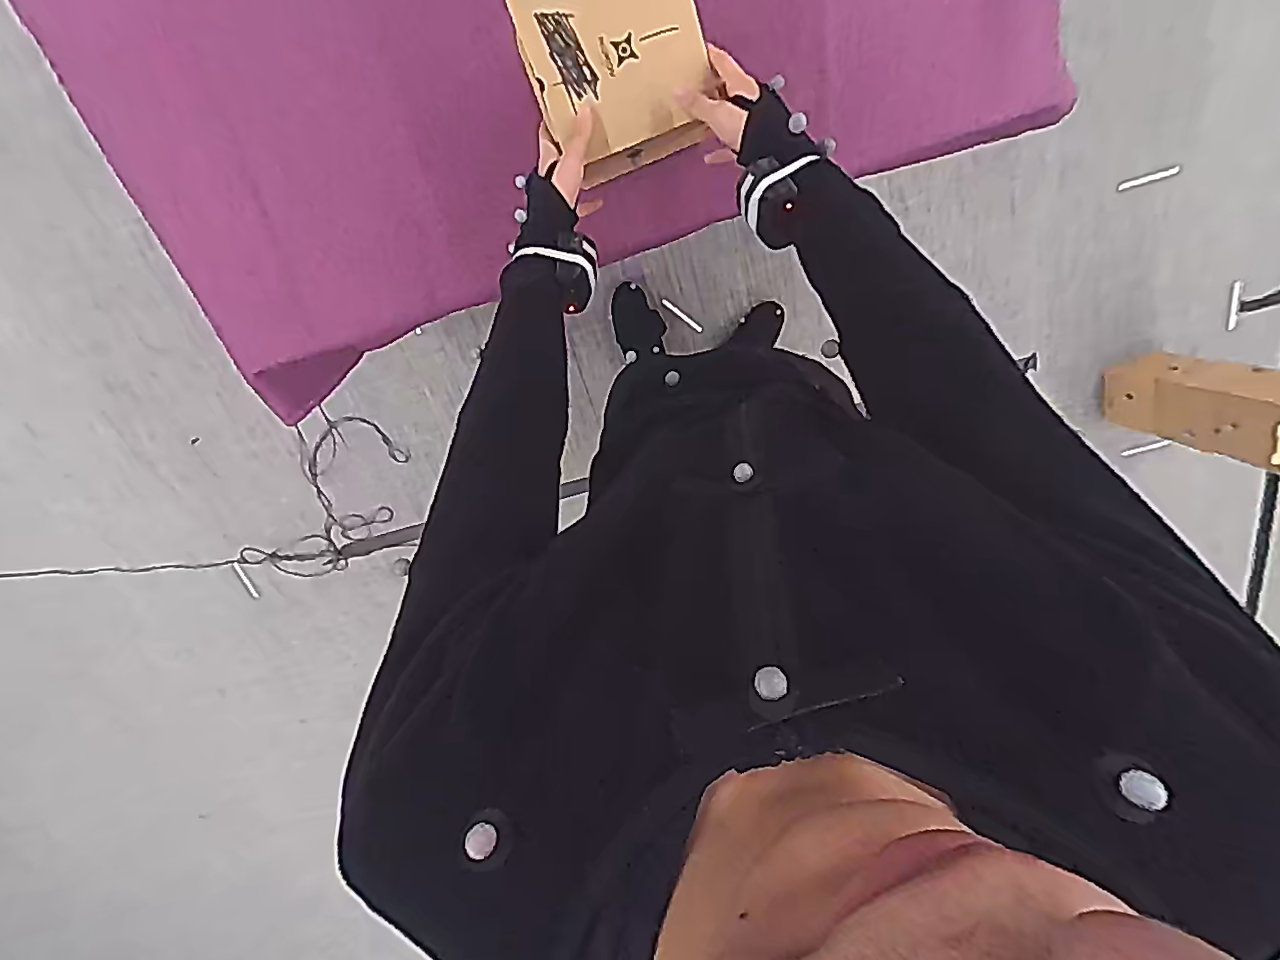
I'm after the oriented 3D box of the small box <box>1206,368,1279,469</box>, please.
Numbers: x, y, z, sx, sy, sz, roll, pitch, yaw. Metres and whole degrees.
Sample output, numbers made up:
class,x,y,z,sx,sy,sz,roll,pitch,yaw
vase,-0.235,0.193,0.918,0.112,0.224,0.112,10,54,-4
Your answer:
class,x,y,z,sx,sy,sz,roll,pitch,yaw
small box,1.487,-0.150,1.247,0.179,0.176,0.168,-17,113,5

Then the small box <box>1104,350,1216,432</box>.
class,x,y,z,sx,sy,sz,roll,pitch,yaw
small box,1.487,-0.261,1.559,0.179,0.176,0.168,-20,112,5

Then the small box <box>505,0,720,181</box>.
class,x,y,z,sx,sy,sz,roll,pitch,yaw
small box,-0.023,-0.461,0.611,0.179,0.176,0.168,-19,112,8
